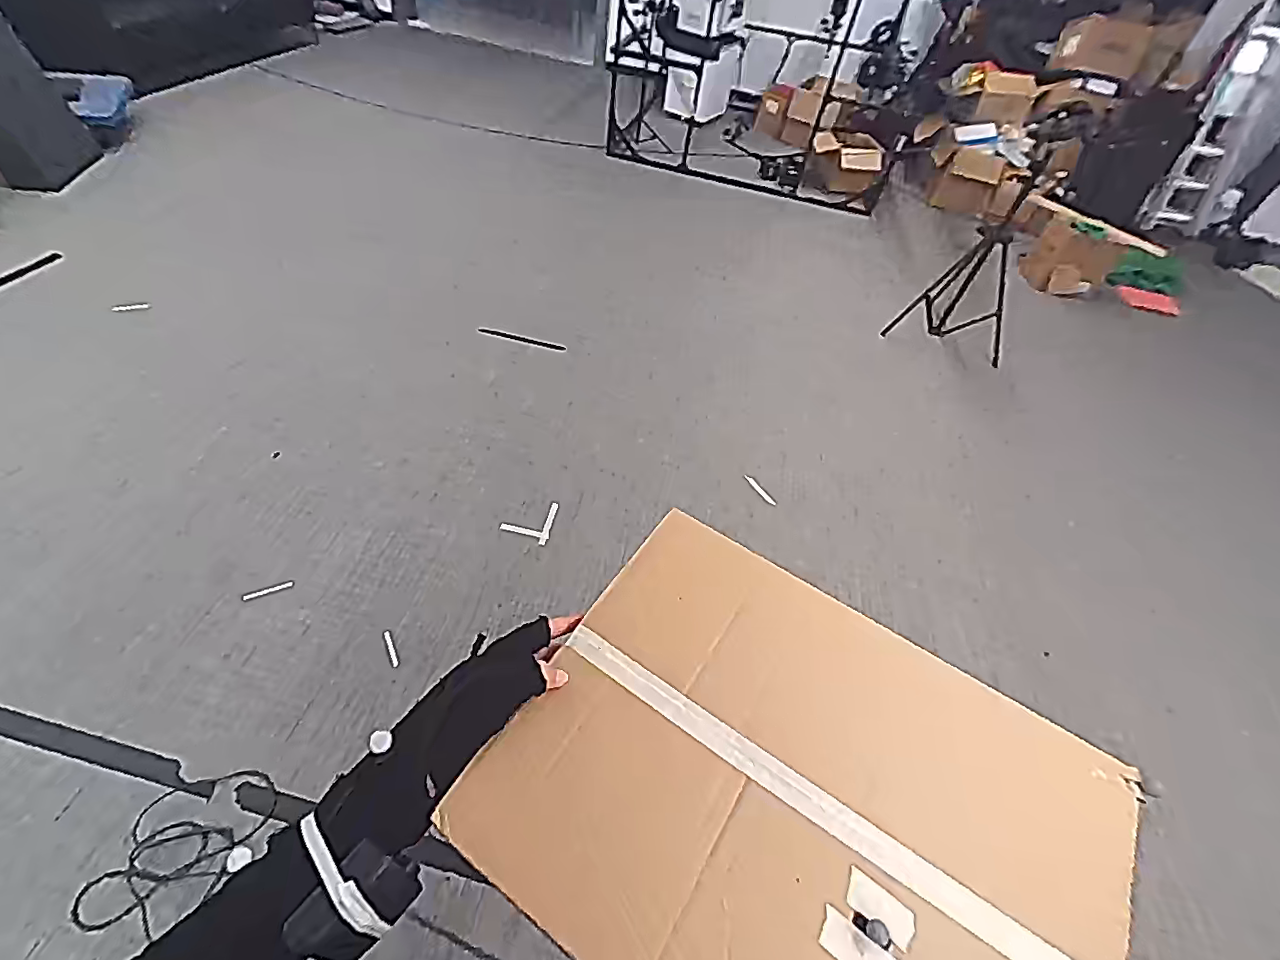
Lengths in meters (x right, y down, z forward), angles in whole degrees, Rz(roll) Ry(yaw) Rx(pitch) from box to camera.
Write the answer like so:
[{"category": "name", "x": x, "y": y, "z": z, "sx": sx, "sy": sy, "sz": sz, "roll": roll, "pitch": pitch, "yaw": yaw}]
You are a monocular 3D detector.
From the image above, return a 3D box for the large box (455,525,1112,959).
[{"category": "large box", "x": 0.106, "y": 0.319, "z": 0.511, "sx": 0.408, "sy": 0.320, "sz": 0.320, "roll": 30, "pitch": 57, "yaw": 18}]
